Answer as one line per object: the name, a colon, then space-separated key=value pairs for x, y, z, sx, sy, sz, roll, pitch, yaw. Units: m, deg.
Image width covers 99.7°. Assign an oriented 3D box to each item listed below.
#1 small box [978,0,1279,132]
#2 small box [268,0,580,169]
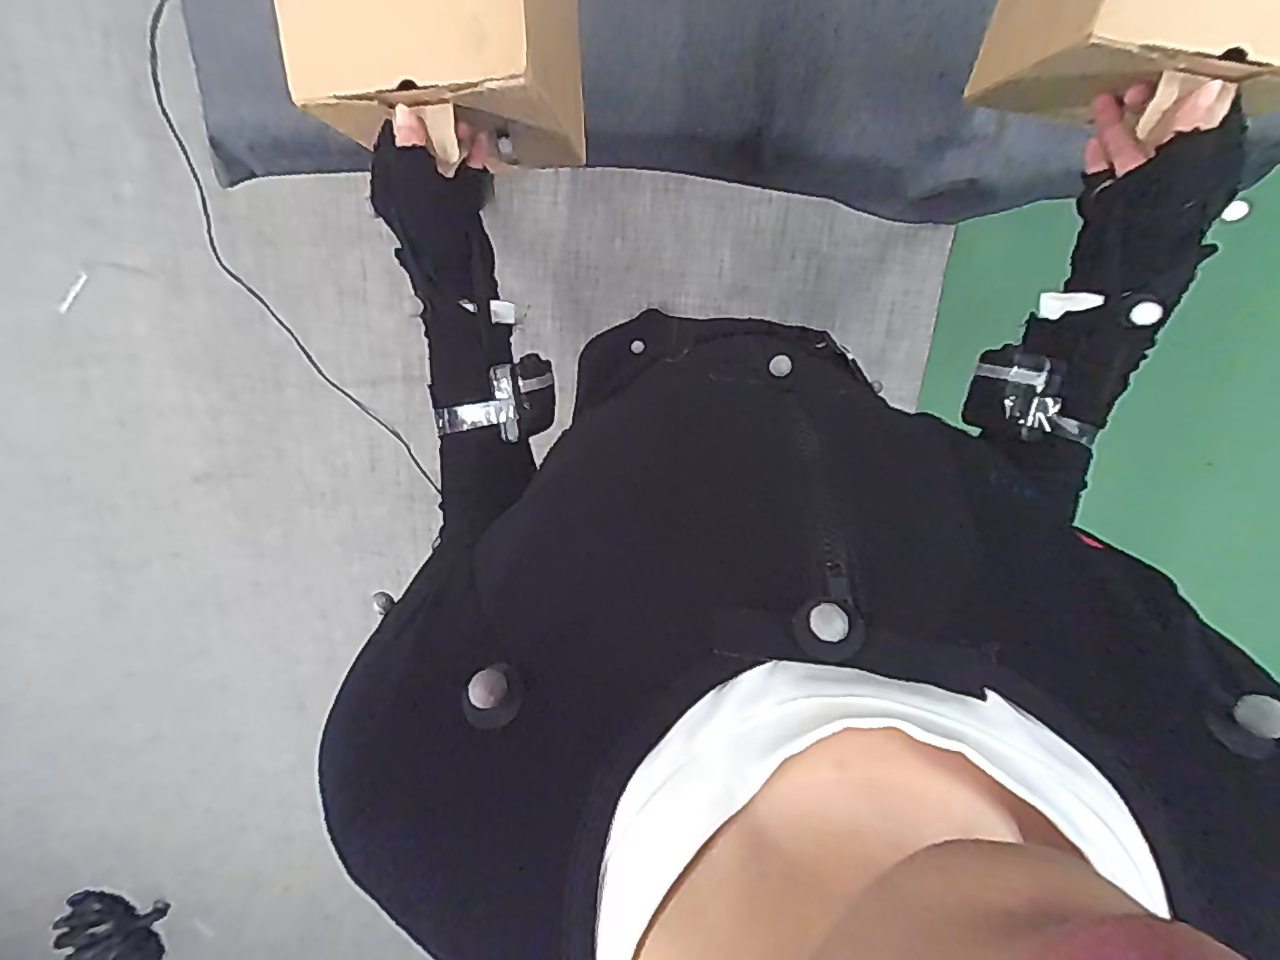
small box: x=0.357 y=-0.344 z=0.346 sx=0.168 sy=0.176 sz=0.179 roll=11 pitch=116 yaw=0
small box: x=-0.144 y=-0.350 z=0.402 sx=0.168 sy=0.176 sz=0.179 roll=-1 pitch=103 yaw=6
